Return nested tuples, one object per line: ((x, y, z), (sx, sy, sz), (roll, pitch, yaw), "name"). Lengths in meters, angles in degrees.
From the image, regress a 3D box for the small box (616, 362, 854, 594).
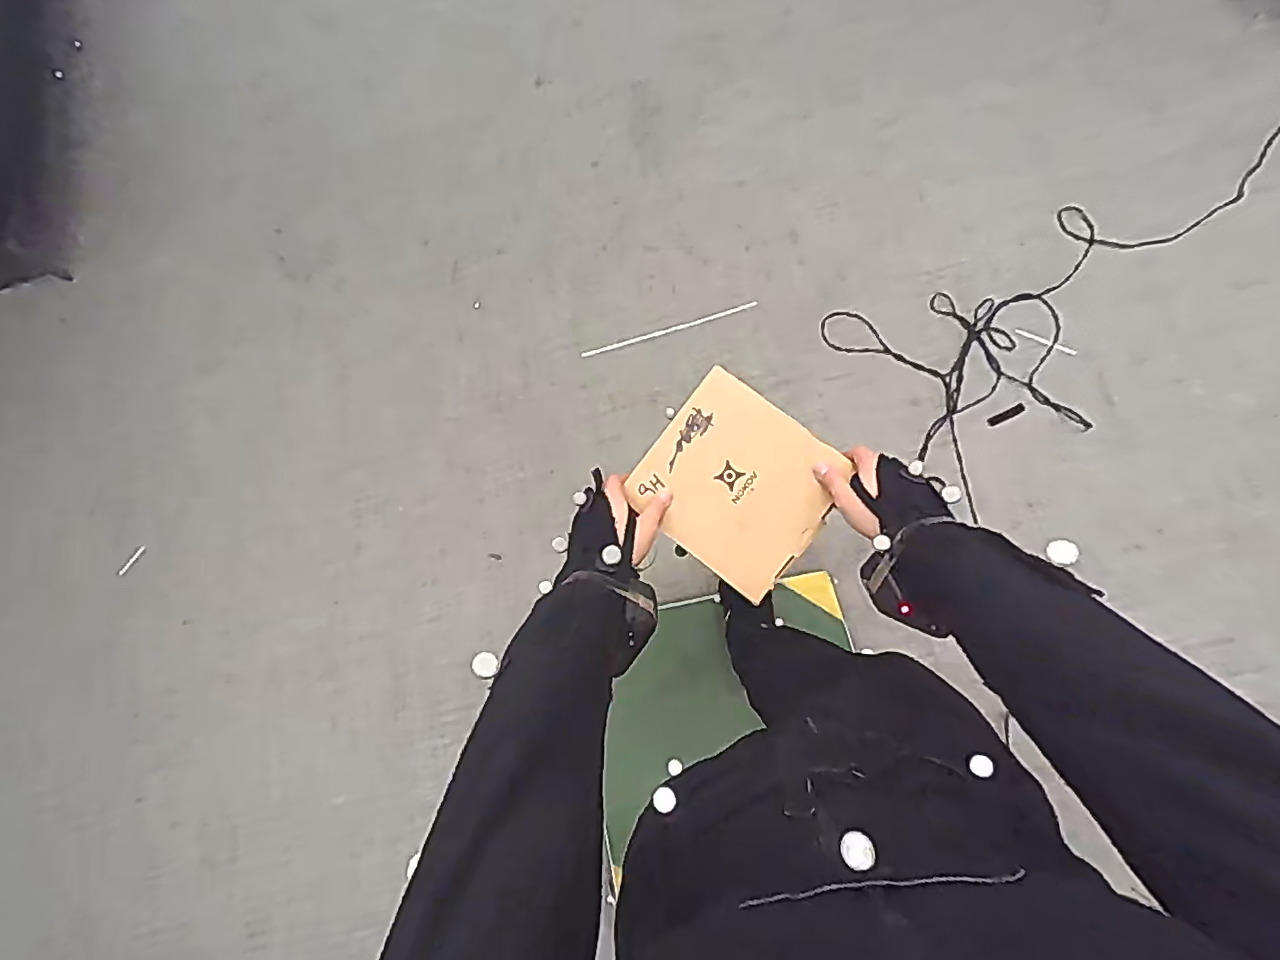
((0.098, 0.000, 0.608), (0.179, 0.176, 0.168), (38, 90, 6), "small box")
